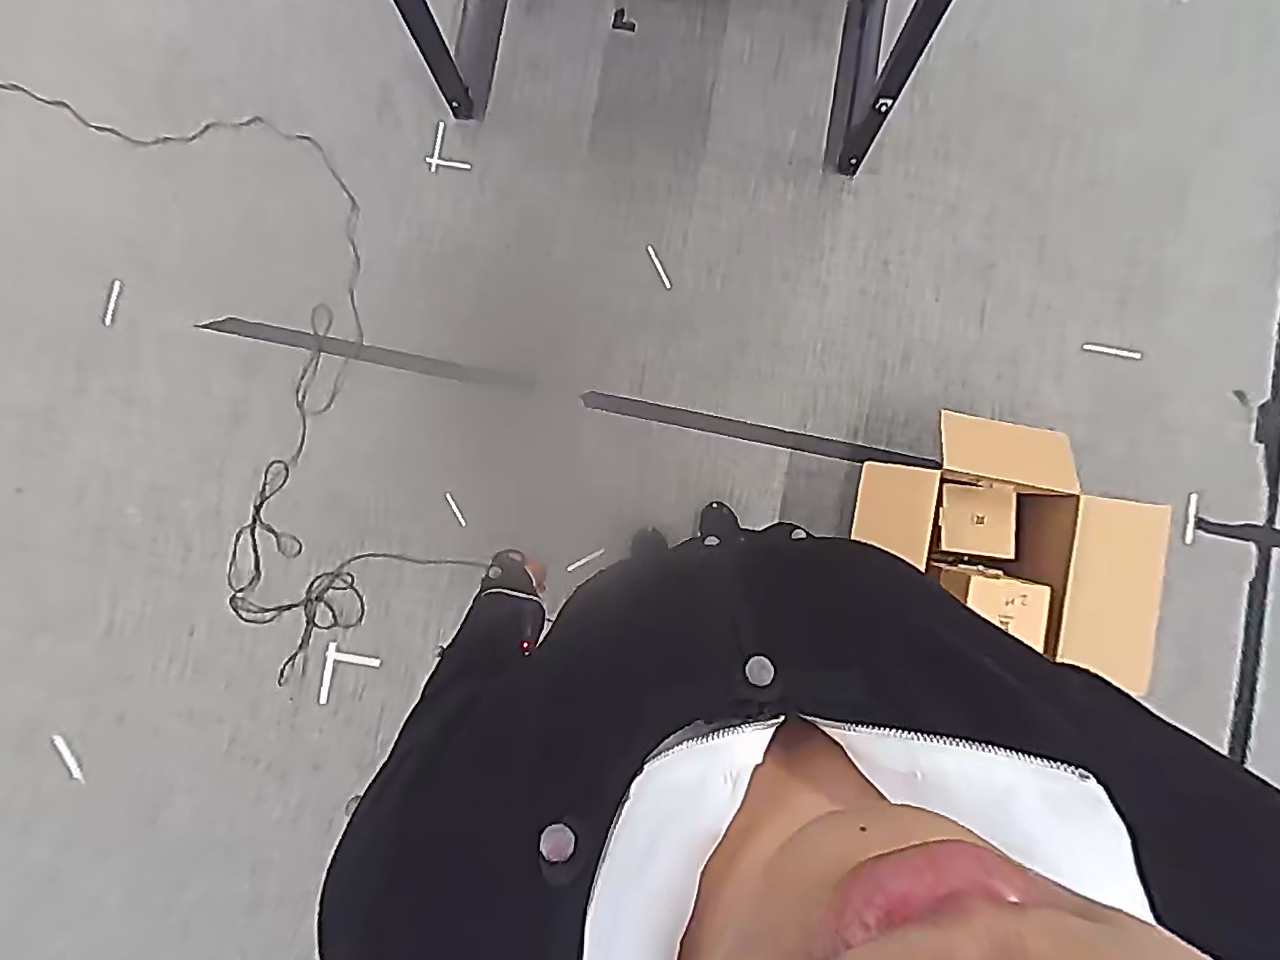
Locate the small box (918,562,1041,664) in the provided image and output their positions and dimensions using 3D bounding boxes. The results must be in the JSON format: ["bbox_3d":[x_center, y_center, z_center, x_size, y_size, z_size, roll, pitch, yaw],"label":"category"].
[{"bbox_3d":[0.749,0.290,1.213,0.168,0.176,0.179,8,89,2],"label":"small box"}]
